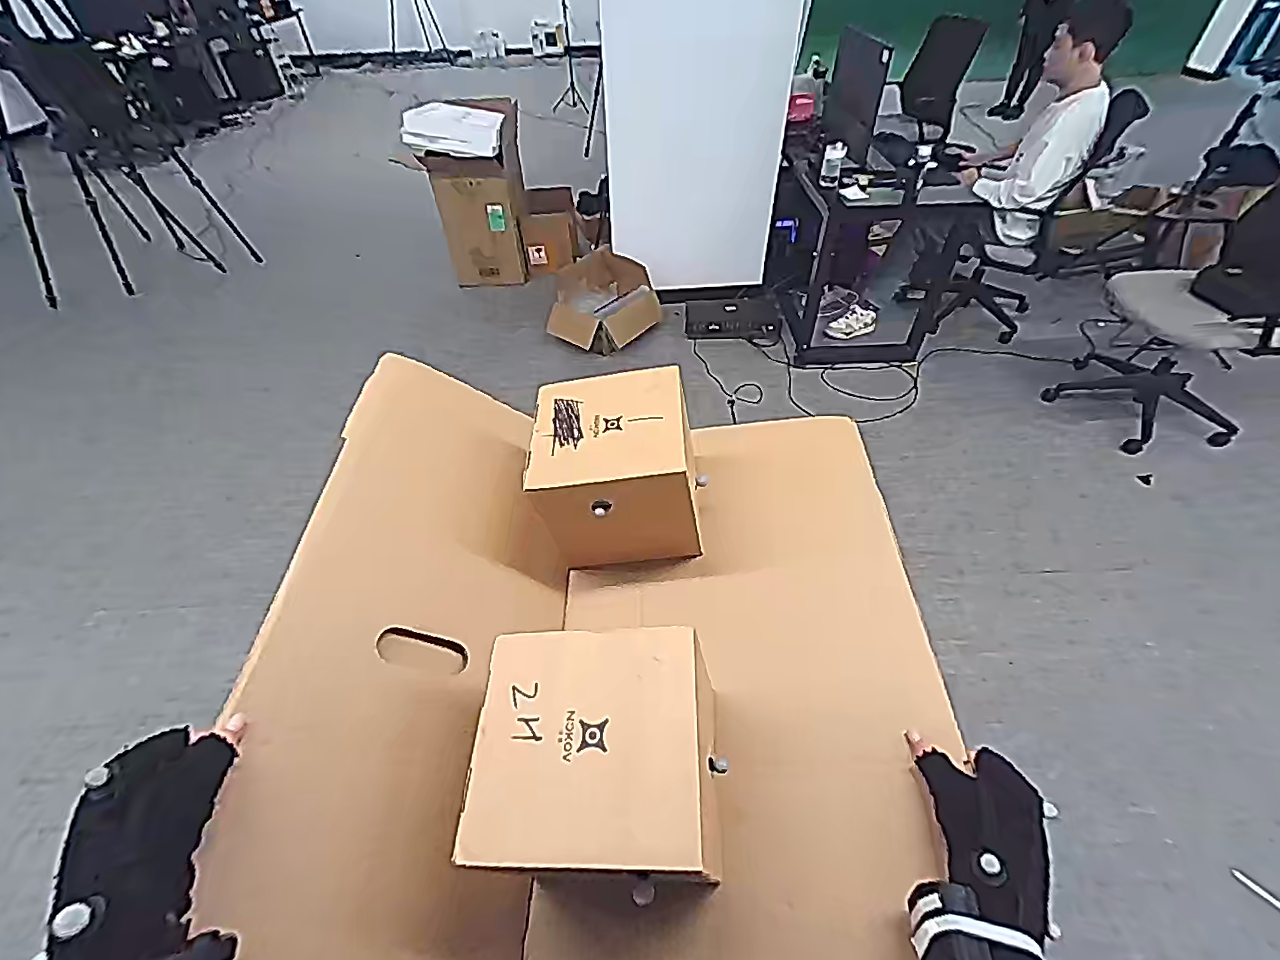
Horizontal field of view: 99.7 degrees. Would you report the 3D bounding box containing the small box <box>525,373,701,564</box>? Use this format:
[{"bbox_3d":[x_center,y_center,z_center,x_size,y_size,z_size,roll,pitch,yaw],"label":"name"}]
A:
[{"bbox_3d":[-0.023,-0.007,0.678,0.179,0.176,0.168,-7,51,8],"label":"small box"}]
